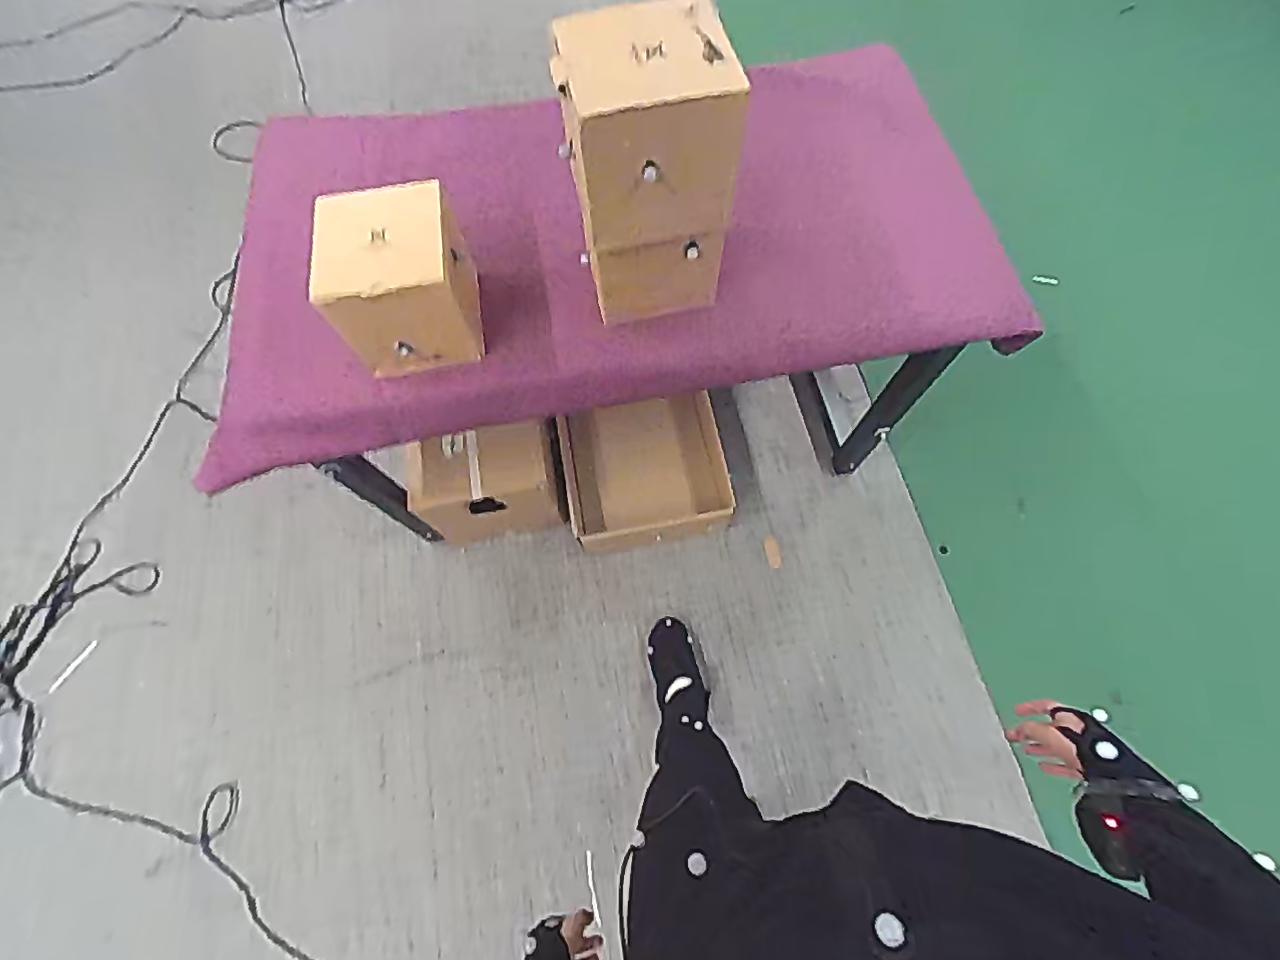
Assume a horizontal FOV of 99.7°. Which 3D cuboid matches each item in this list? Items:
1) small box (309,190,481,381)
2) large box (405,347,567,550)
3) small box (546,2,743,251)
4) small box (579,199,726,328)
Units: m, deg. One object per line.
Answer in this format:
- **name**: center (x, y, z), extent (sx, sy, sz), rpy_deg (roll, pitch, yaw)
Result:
- **small box**: center (-0.331, -0.267, 0.762), extent (0.168, 0.176, 0.179), rpy_deg (-10, 68, -3)
- **large box**: center (-0.384, -0.071, 1.399), extent (0.320, 0.320, 0.408), rpy_deg (-11, 69, -3)
- **small box**: center (0.005, -0.393, 0.622), extent (0.179, 0.176, 0.168), rpy_deg (-13, 68, -3)
- **small box**: center (0.011, -0.347, 0.781), extent (0.179, 0.176, 0.168), rpy_deg (-12, 67, -2)
